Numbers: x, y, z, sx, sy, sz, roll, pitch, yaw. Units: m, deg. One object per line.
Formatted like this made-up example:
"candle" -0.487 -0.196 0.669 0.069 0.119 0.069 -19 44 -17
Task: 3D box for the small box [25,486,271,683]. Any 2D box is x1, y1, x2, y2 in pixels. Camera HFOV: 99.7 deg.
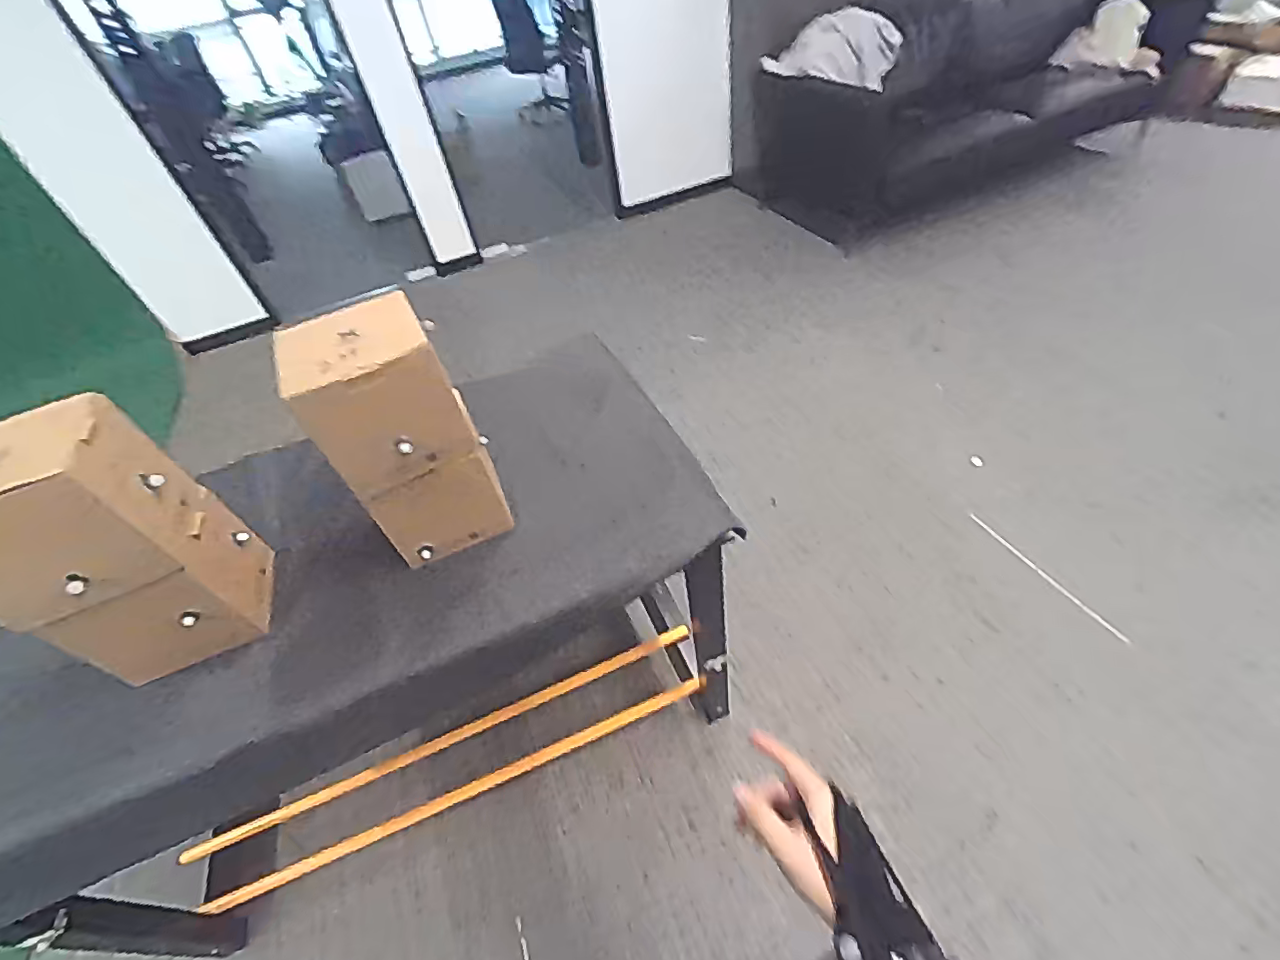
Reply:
"small box" -0.649 0.144 0.746 0.179 0.176 0.168 -23 46 -11

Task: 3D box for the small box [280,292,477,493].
"small box" -0.338 -0.115 0.711 0.168 0.176 0.179 -27 48 -15

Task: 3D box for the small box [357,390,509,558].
"small box" -0.316 -0.004 0.830 0.168 0.176 0.179 -22 46 -12

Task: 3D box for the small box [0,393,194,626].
"small box" -0.667 0.033 0.625 0.179 0.176 0.168 -24 46 -14
